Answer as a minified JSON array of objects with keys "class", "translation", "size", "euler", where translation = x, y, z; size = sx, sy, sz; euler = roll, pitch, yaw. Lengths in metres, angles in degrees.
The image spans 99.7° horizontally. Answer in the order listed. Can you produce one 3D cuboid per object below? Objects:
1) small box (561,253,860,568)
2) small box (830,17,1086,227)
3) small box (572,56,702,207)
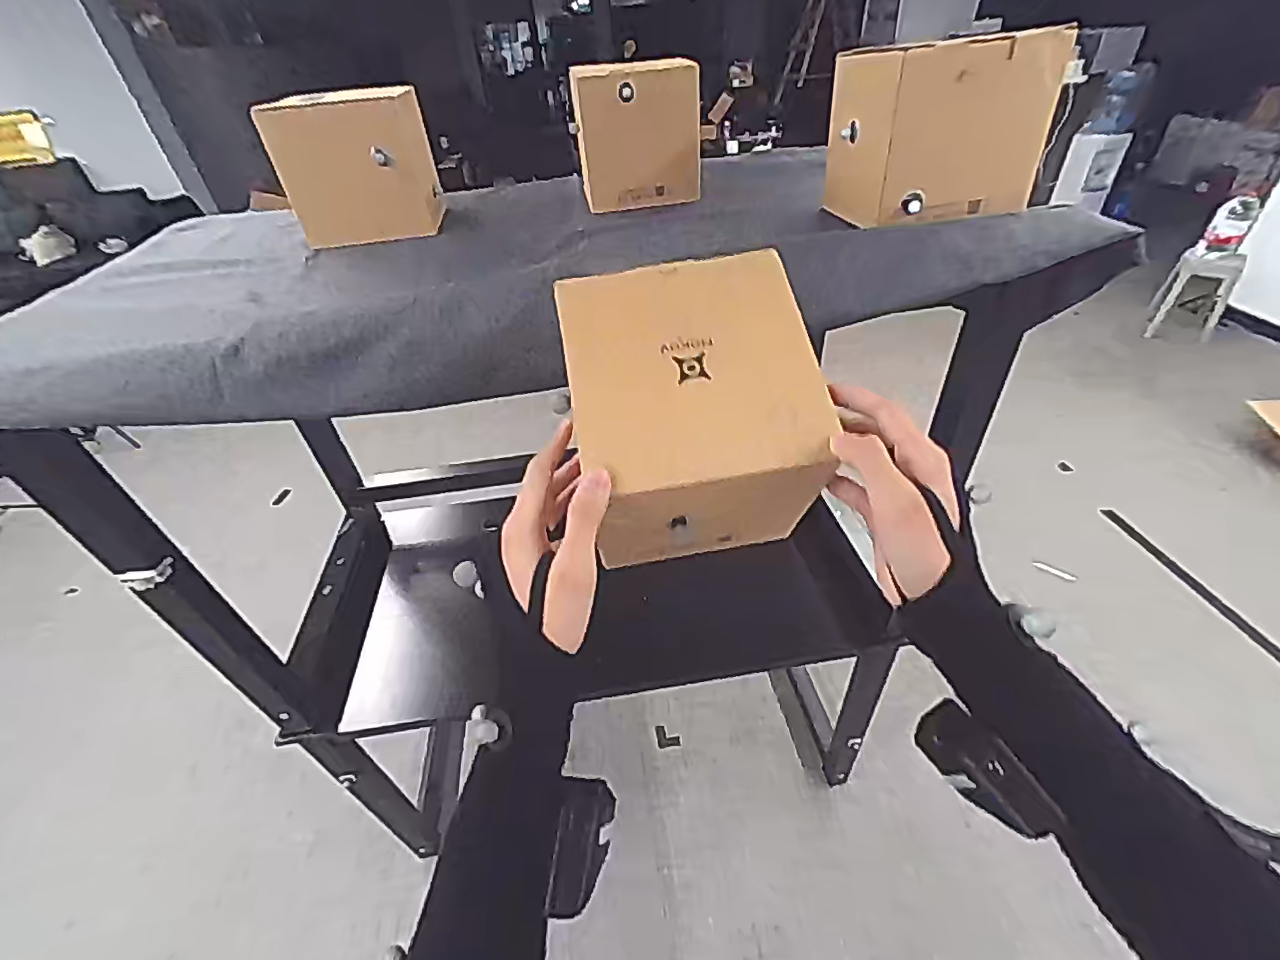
[{"class":"small box","translation":[0.040,-0.039,0.419],"size":[0.168,0.176,0.179],"euler":[-9,65,-3]},{"class":"small box","translation":[0.328,-0.390,0.604],"size":[0.168,0.176,0.179],"euler":[-7,36,-1]},{"class":"small box","translation":[-0.007,-0.518,0.805],"size":[0.168,0.176,0.179],"euler":[-9,39,-4]}]
